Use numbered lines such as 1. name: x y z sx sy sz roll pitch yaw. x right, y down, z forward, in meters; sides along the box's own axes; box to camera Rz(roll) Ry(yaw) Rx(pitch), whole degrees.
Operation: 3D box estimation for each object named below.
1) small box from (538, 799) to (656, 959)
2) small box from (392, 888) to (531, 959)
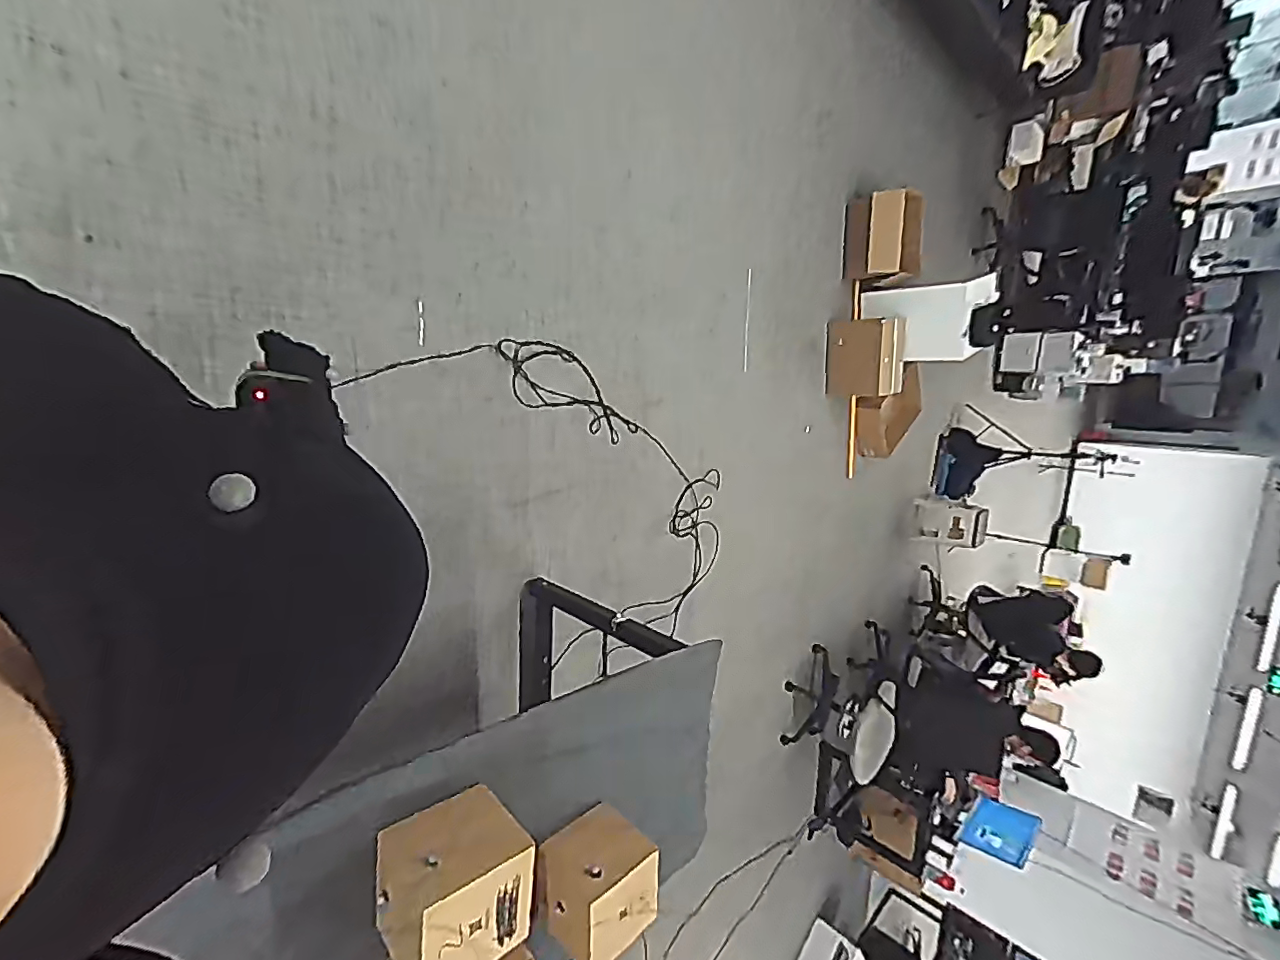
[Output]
1. small box: -0.088 0.786 1.071 0.179 0.176 0.168 -9 106 -44
2. small box: -0.294 0.833 0.879 0.179 0.176 0.168 -11 106 -44
